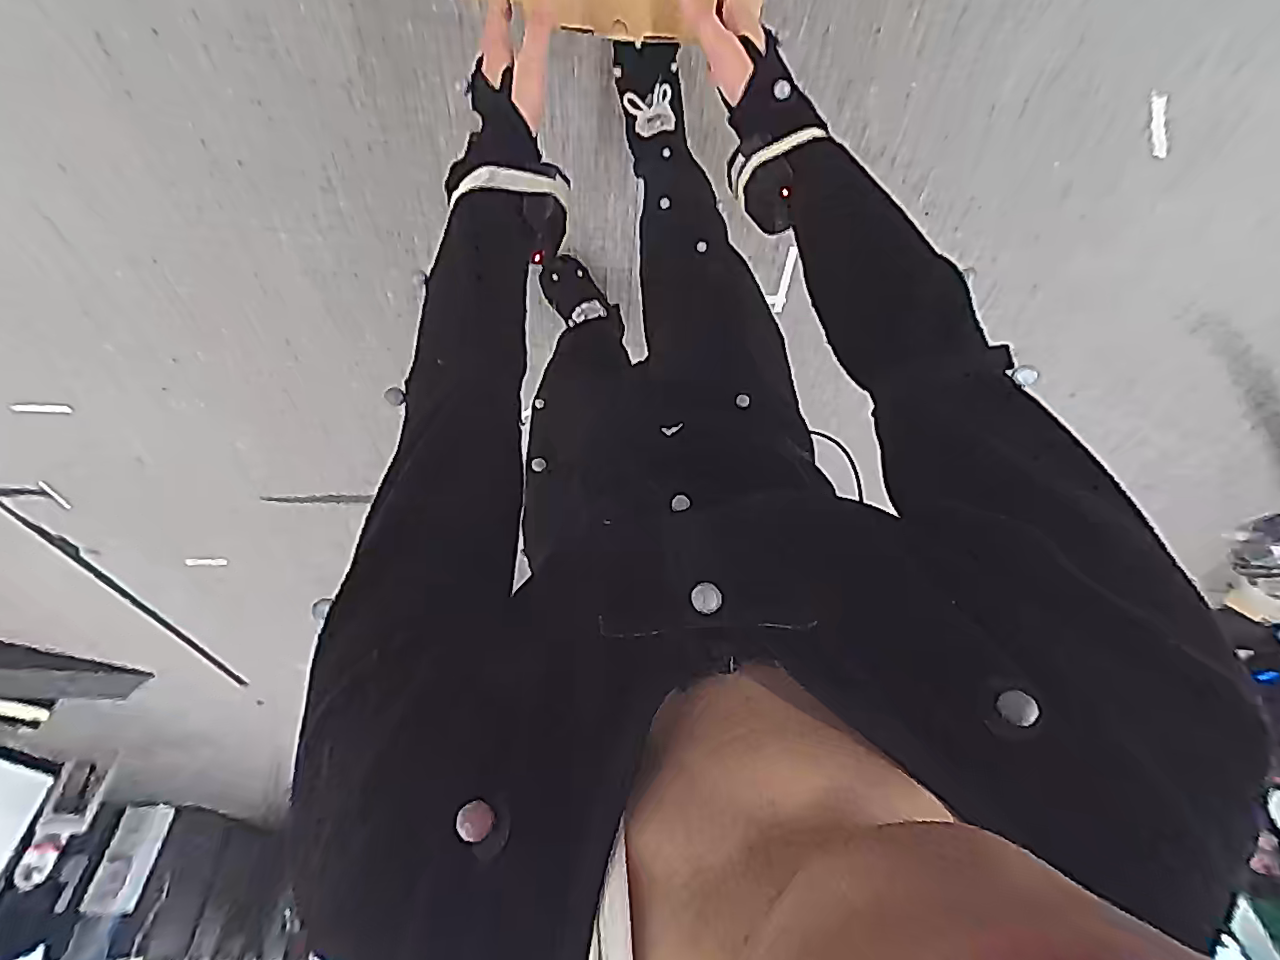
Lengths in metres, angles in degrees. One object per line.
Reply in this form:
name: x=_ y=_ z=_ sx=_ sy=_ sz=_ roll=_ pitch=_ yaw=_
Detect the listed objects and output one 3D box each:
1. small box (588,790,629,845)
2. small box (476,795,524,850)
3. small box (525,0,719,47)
small box: x=-0.136 y=1.435 z=2.304 sx=0.168 sy=0.176 sz=0.179 roll=1 pitch=137 yaw=-5
small box: x=-0.583 y=1.437 z=2.269 sx=0.168 sy=0.176 sz=0.179 roll=0 pitch=138 yaw=-6
small box: x=-0.013 y=-0.504 z=0.458 sx=0.168 sy=0.176 sz=0.179 roll=1 pitch=141 yaw=-5
